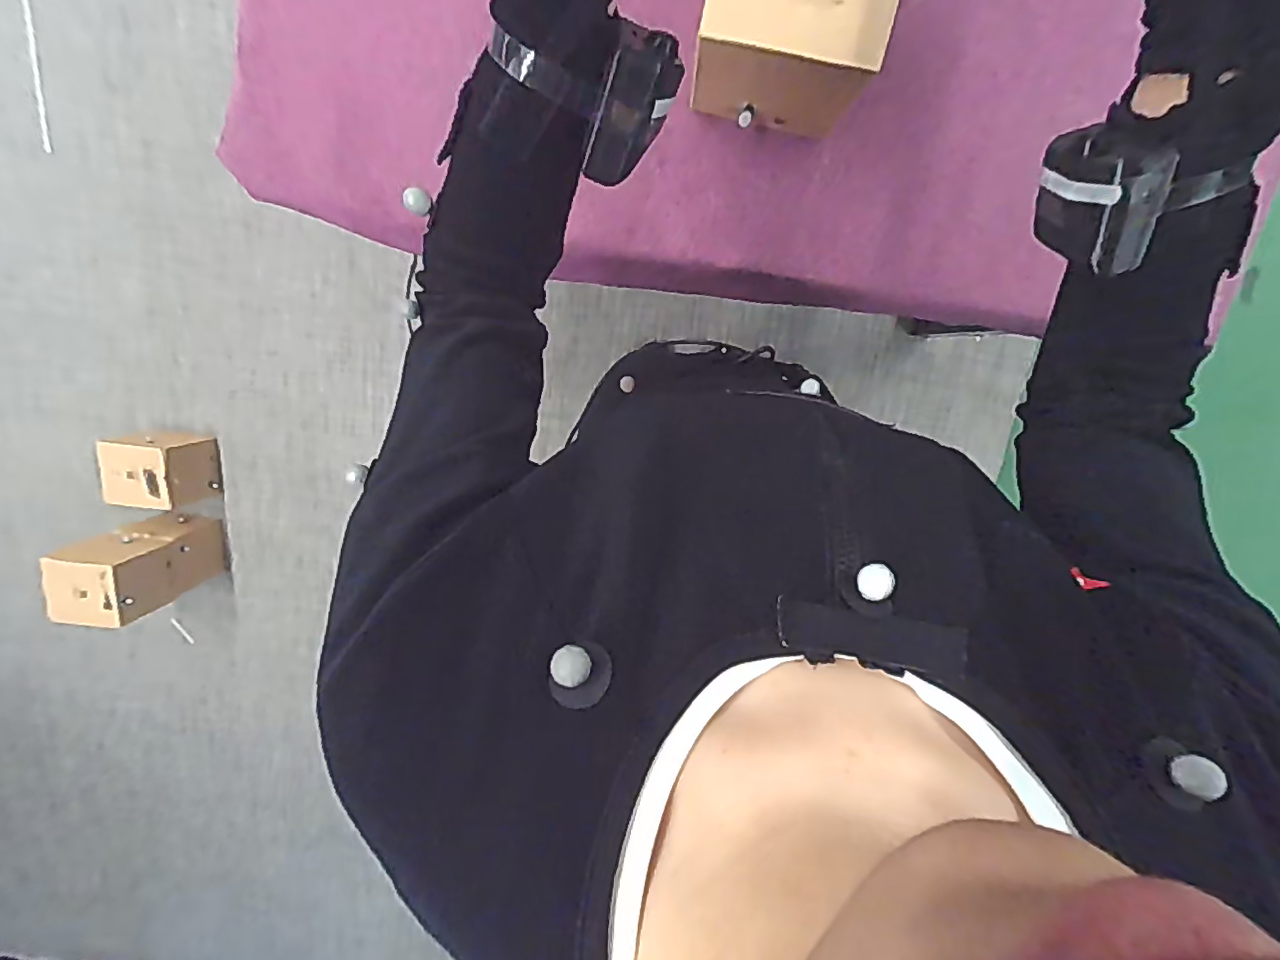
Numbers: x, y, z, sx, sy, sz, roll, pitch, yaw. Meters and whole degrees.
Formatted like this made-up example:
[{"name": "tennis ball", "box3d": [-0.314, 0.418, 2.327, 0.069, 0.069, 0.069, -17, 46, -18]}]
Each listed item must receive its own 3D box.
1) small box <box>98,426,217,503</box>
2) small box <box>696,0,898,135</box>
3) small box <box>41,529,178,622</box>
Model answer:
[{"name": "small box", "box3d": [-1.274, -0.046, 1.445, 0.179, 0.176, 0.168, 7, 104, 1]}, {"name": "small box", "box3d": [0.155, -0.483, 0.536, 0.168, 0.176, 0.179, 13, 104, 0]}, {"name": "small box", "box3d": [-1.311, 0.230, 1.348, 0.179, 0.176, 0.168, 7, 104, 1]}]
